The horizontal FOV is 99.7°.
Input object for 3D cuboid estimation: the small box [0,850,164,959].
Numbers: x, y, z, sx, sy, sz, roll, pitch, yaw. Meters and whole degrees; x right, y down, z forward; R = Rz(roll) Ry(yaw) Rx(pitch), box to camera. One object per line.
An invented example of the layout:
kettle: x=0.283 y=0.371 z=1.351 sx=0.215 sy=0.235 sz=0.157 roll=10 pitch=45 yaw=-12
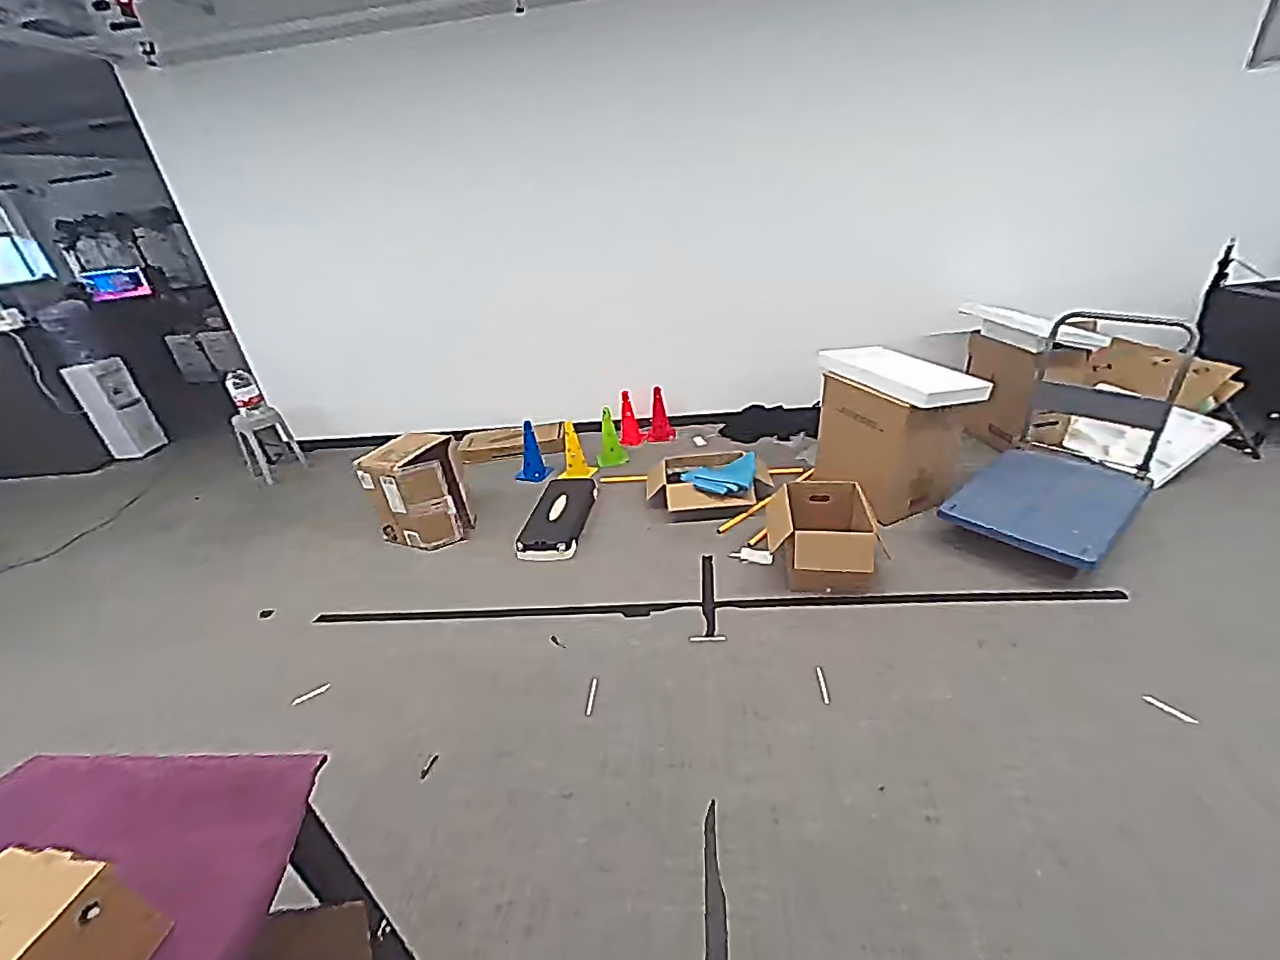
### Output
small box: x=-0.740 y=0.586 z=0.643 sx=0.168 sy=0.176 sz=0.179 roll=-1 pitch=28 yaw=11
